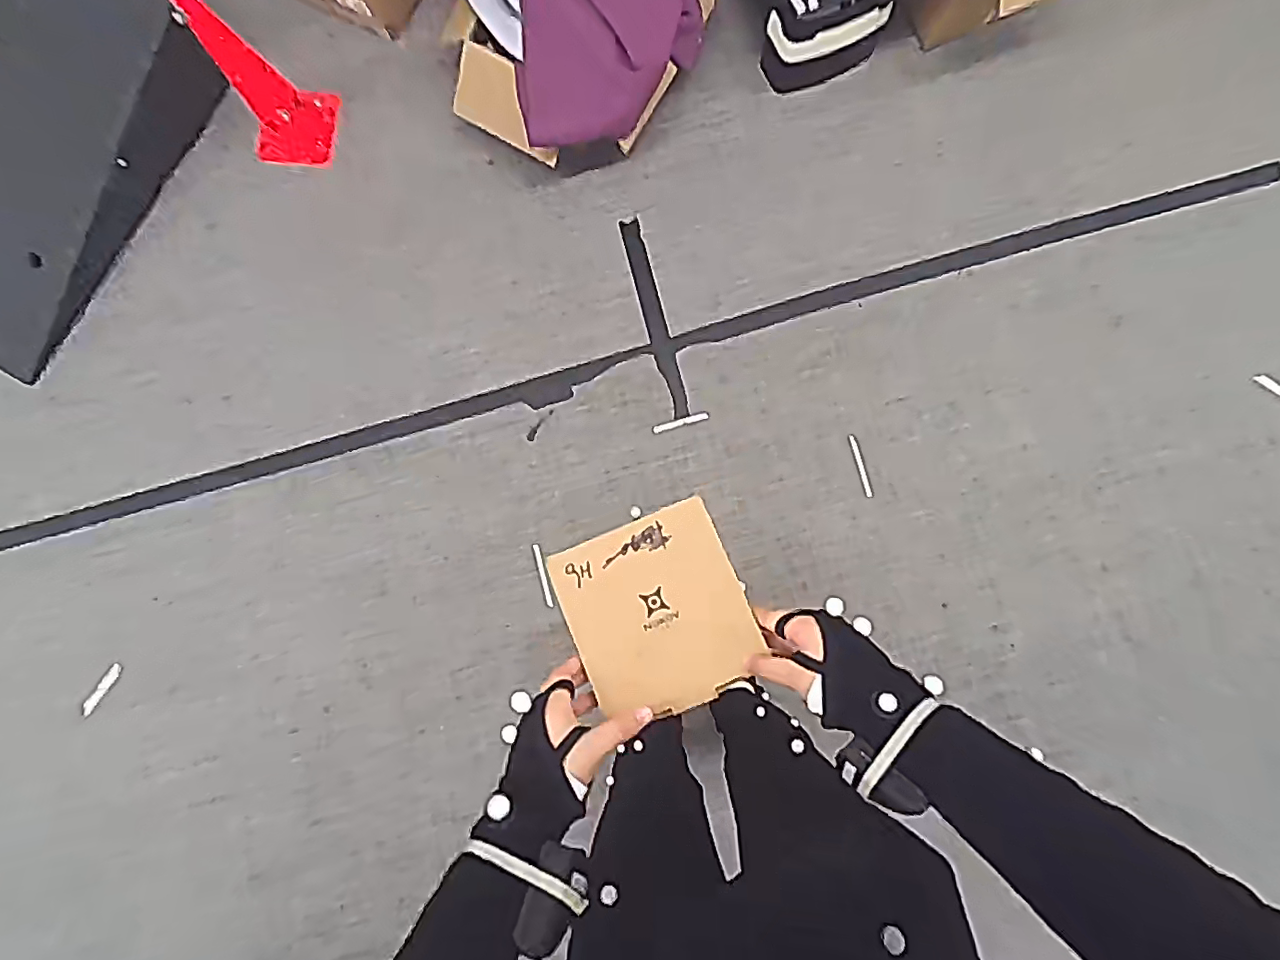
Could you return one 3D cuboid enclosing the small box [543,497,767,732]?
[{"bbox_3d":[0.016,0.133,0.583,0.168,0.176,0.179,-22,81,-2],"label":"small box"}]
